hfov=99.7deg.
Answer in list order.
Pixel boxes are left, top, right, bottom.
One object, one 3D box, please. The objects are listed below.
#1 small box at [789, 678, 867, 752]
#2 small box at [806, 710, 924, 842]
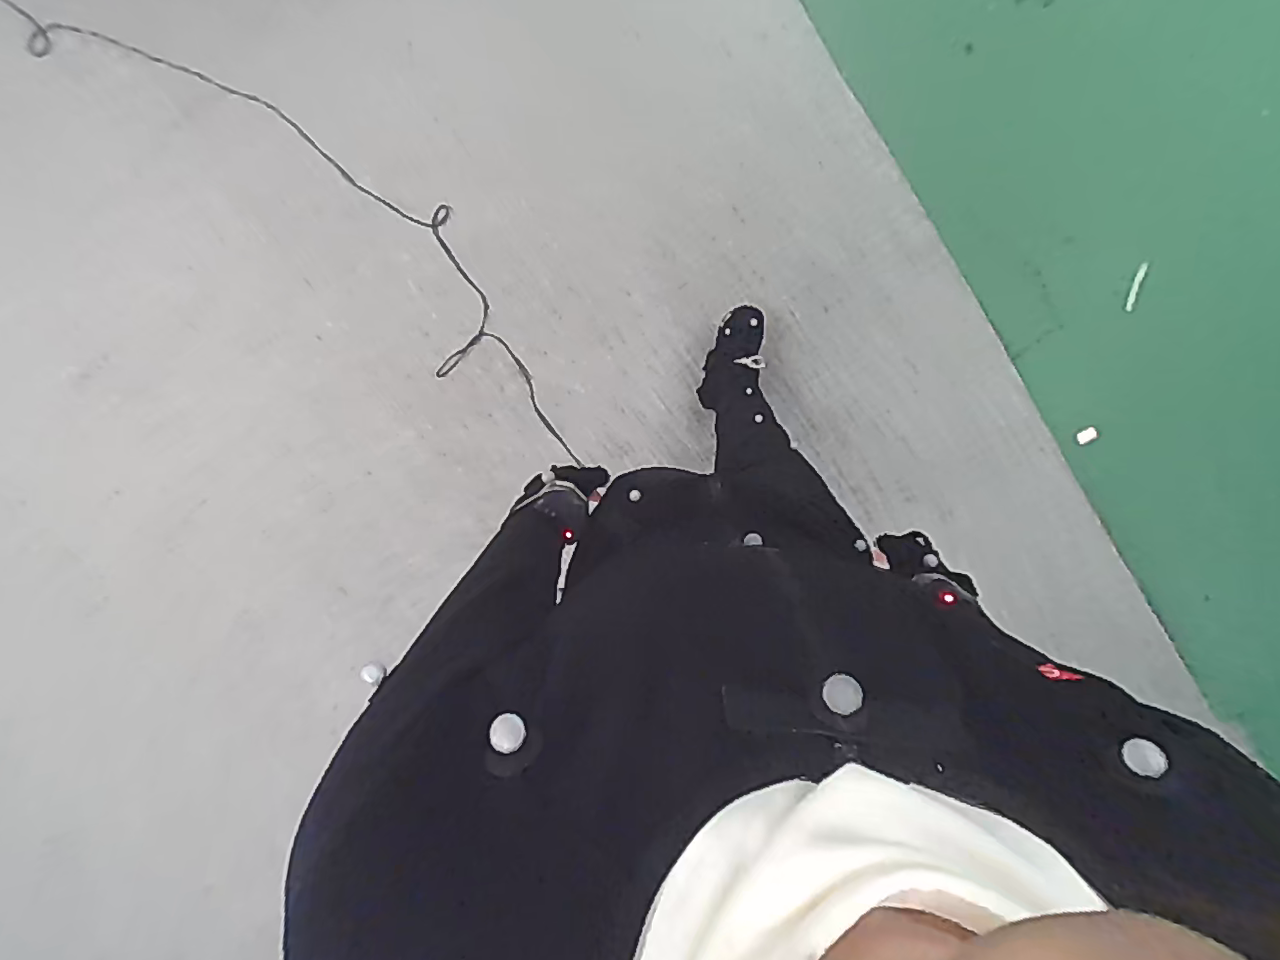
[{"bbox_3d":[0.507,0.654,1.410,0.179,0.176,0.168,-29,97,3],"label":"small box"},{"bbox_3d":[0.505,0.673,1.250,0.179,0.176,0.168,-31,95,3],"label":"small box"}]
